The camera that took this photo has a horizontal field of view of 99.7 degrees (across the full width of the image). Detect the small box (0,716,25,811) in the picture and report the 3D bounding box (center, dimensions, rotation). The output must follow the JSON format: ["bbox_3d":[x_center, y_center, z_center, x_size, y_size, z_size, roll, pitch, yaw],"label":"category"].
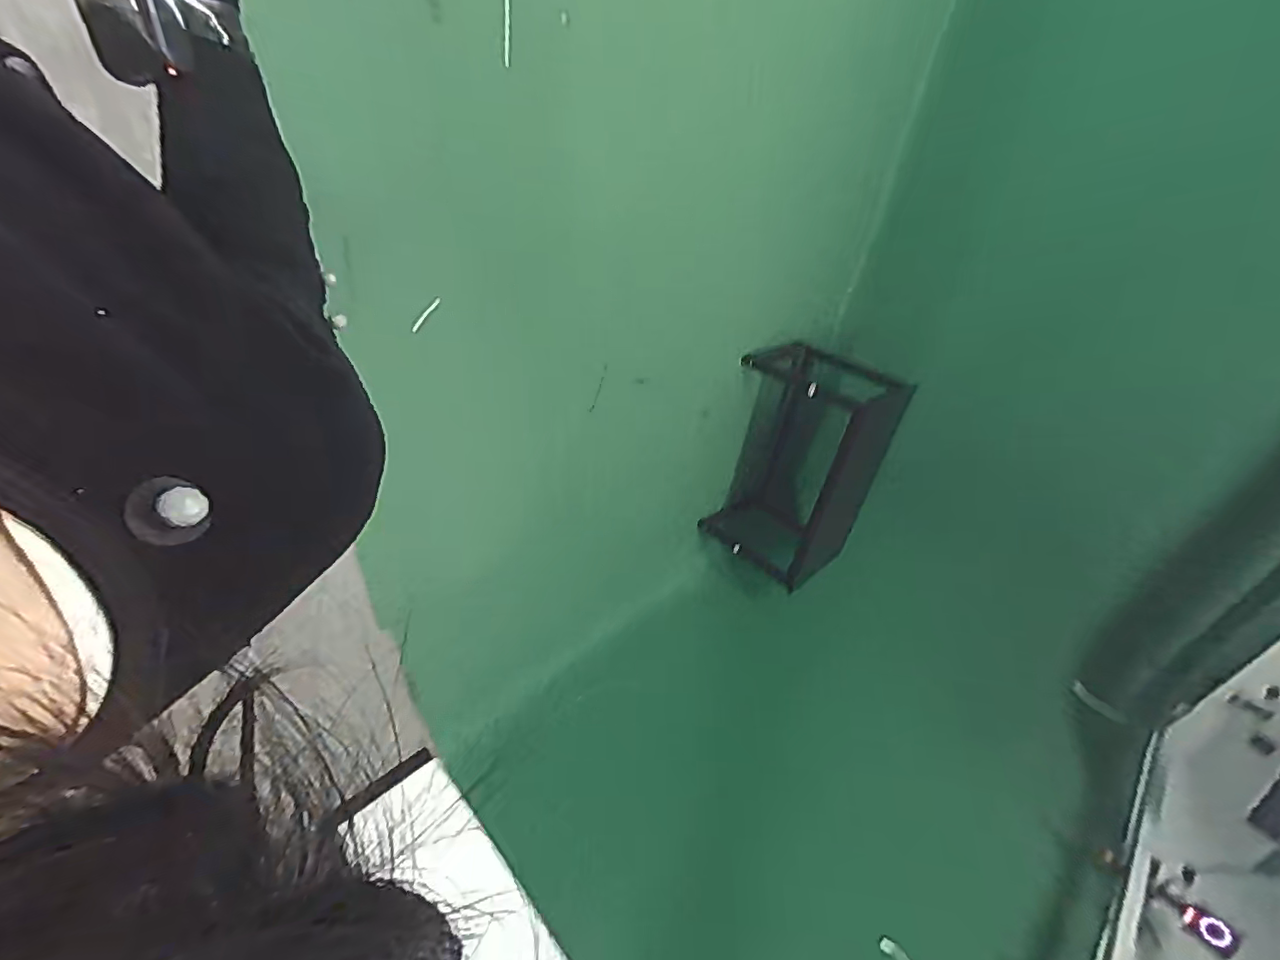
[{"bbox_3d":[-1.113,0.454,0.833,0.168,0.176,0.179,-28,138,-36],"label":"small box"}]

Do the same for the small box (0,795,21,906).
[{"bbox_3d":[-1.005,0.523,0.730,0.168,0.176,0.179,-27,137,-35],"label":"small box"}]
